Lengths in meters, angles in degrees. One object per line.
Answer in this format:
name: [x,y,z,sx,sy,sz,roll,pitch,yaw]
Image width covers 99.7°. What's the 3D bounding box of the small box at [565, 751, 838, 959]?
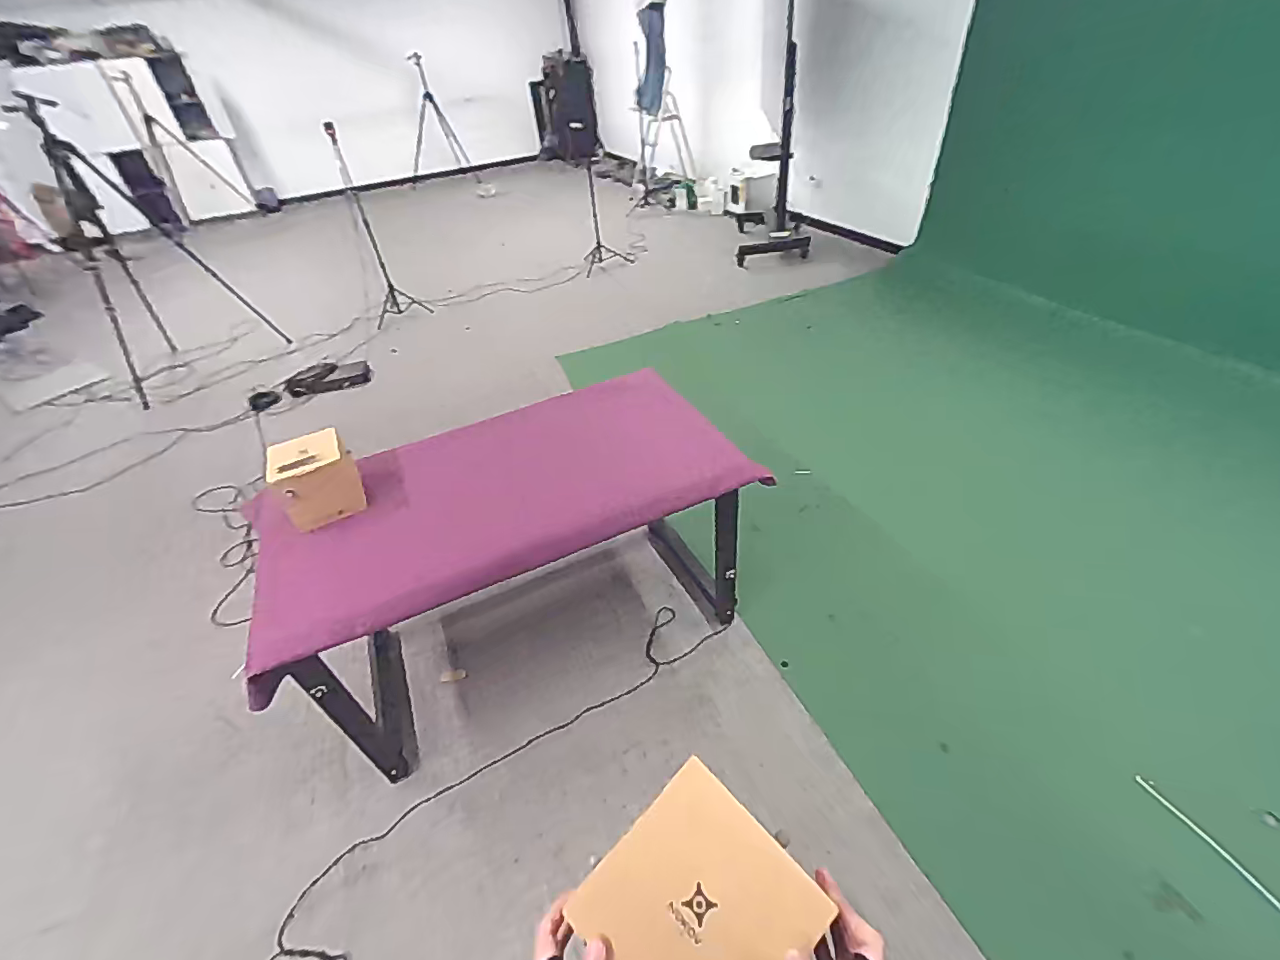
small box: [0.060,0.399,0.522,0.179,0.176,0.168,-43,59,-16]
